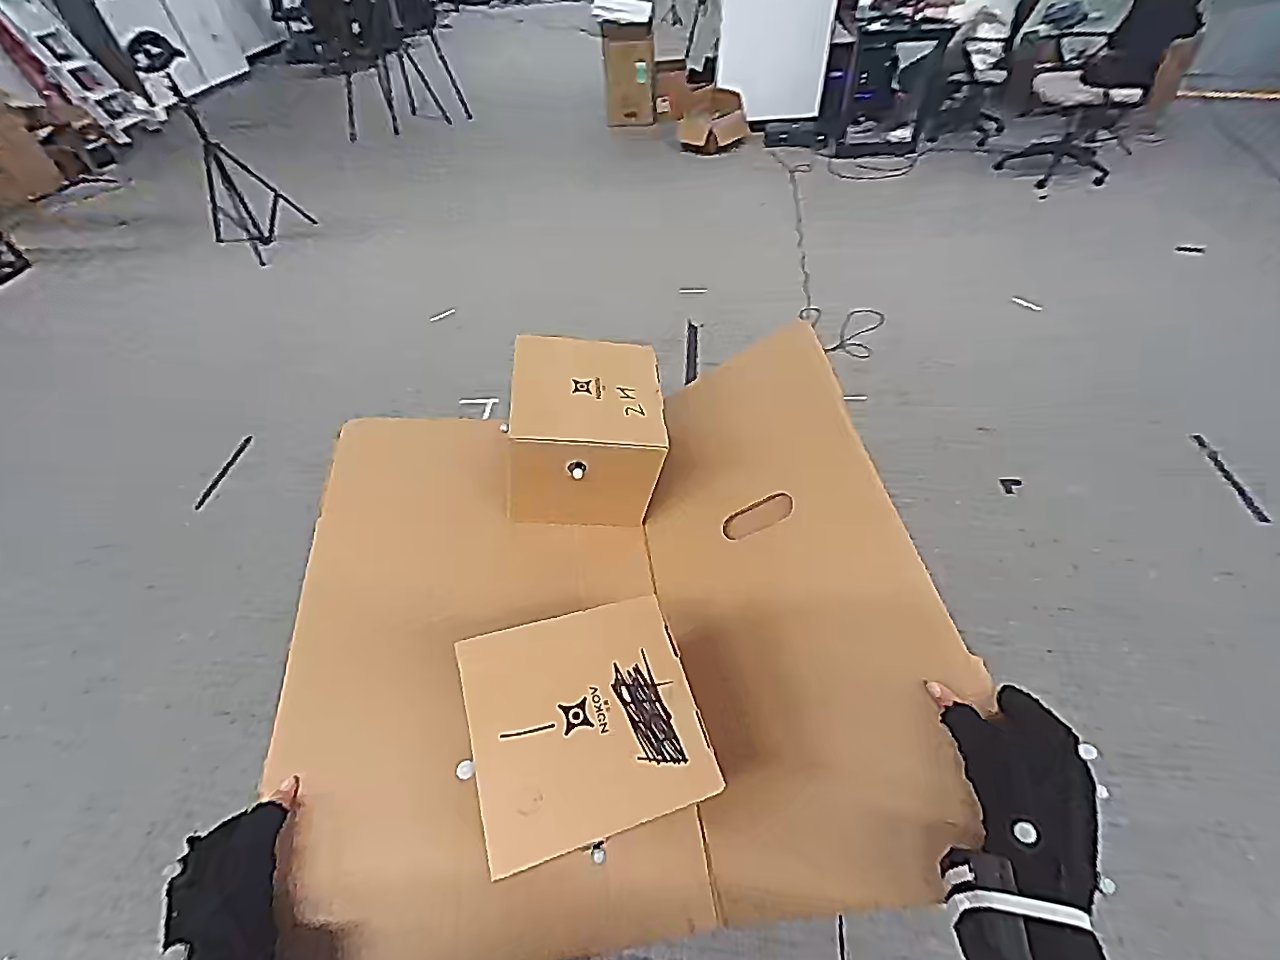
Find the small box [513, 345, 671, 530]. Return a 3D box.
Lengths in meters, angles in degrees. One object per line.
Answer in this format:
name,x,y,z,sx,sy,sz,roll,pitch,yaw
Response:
small box,-0.068,-0.048,0.697,0.179,0.176,0.168,4,54,-11

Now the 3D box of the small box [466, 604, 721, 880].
small box,-0.055,0.235,0.491,0.179,0.176,0.168,-9,57,-18
